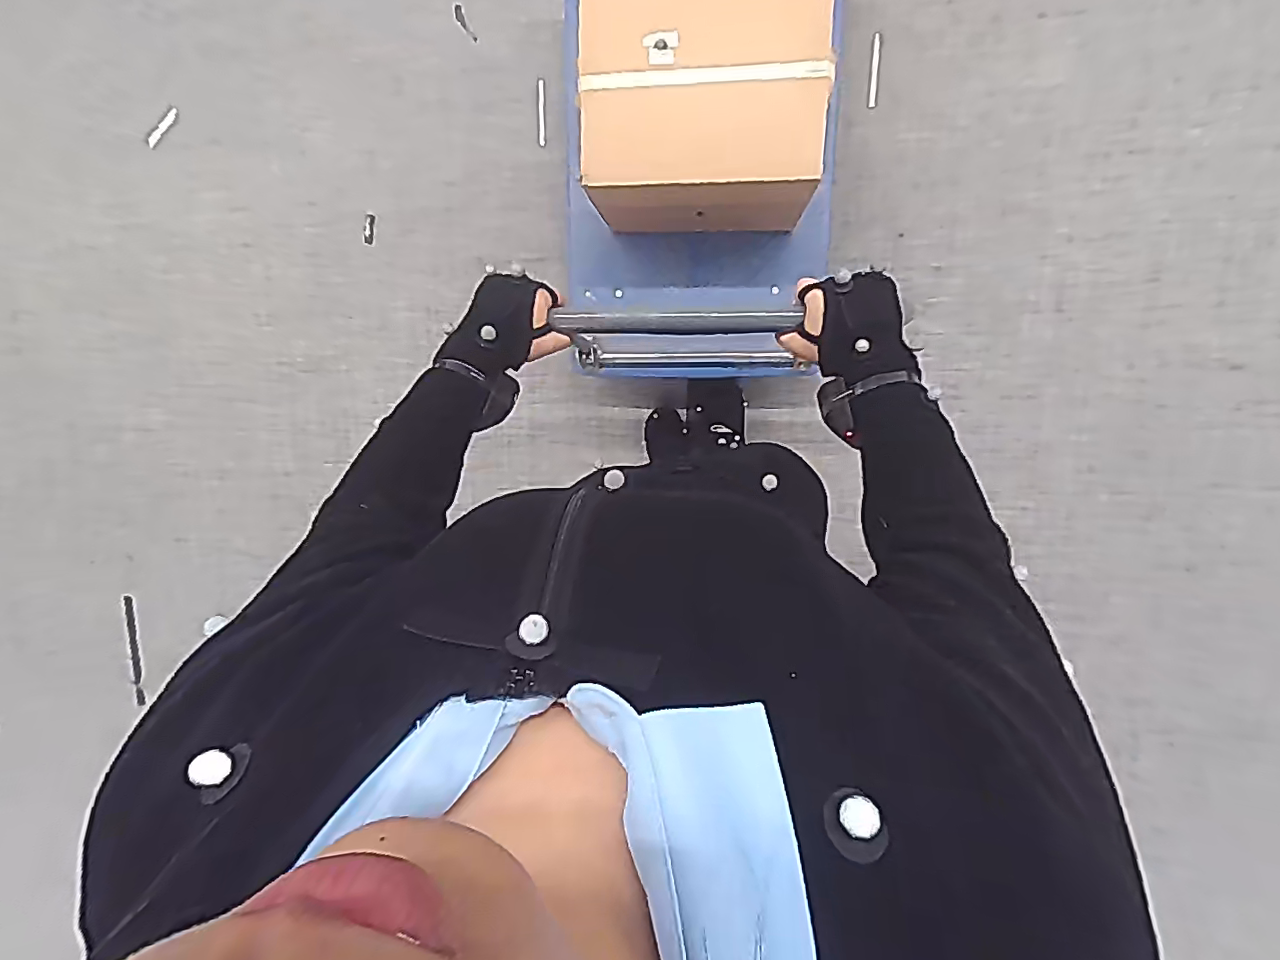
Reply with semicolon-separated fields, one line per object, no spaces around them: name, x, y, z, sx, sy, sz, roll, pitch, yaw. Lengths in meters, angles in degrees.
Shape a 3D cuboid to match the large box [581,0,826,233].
large box;0.121;-0.684;1.045;0.408;0.320;0.320;2;100;8
